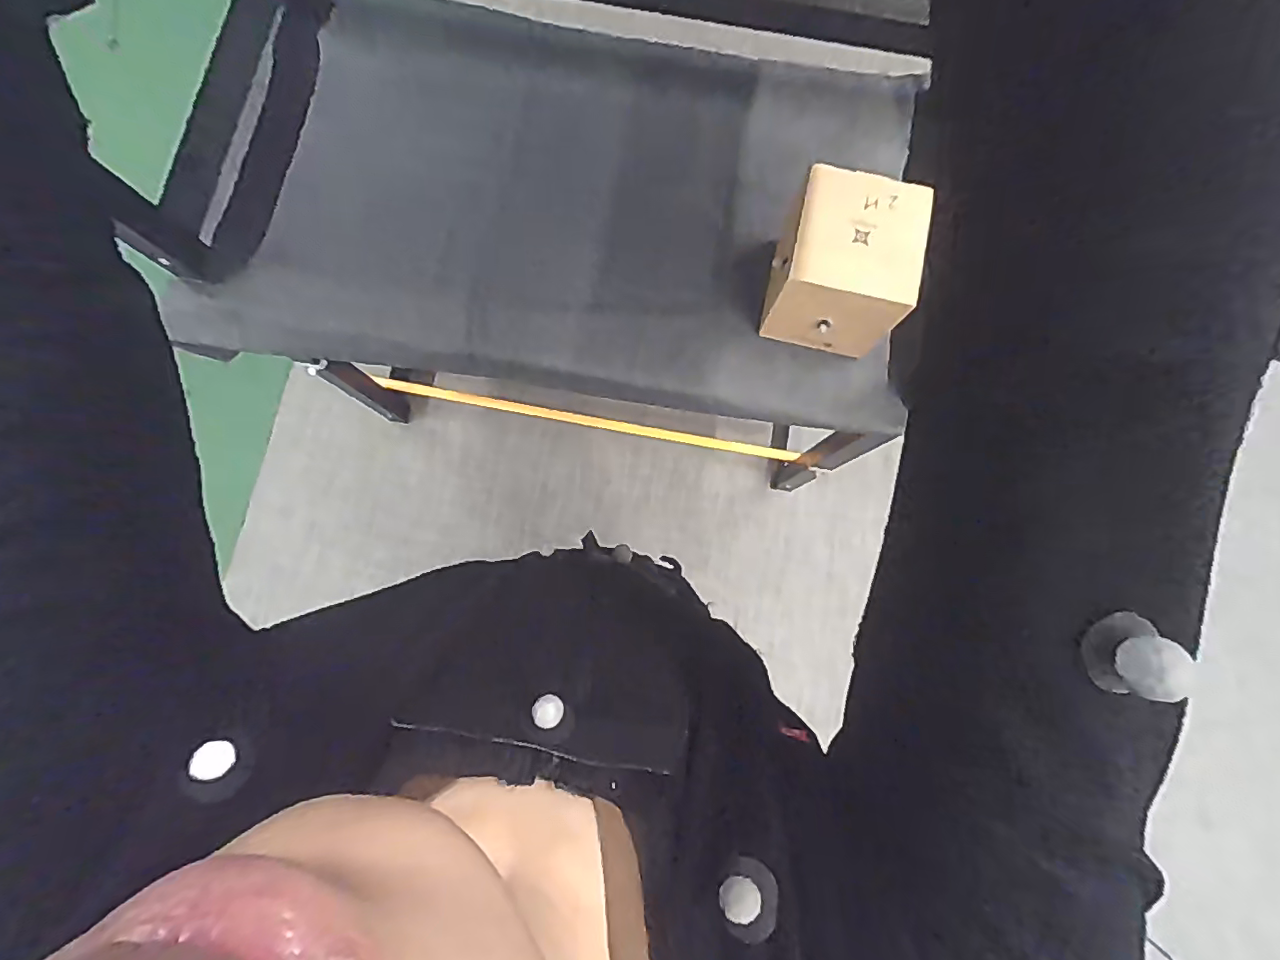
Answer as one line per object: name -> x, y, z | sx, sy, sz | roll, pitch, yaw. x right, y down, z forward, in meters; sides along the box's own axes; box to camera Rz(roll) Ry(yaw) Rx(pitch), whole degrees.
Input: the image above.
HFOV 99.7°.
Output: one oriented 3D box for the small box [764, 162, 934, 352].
small box -> 0.286, -0.306, 0.776 | 0.168, 0.176, 0.179 | 14, 80, 1
